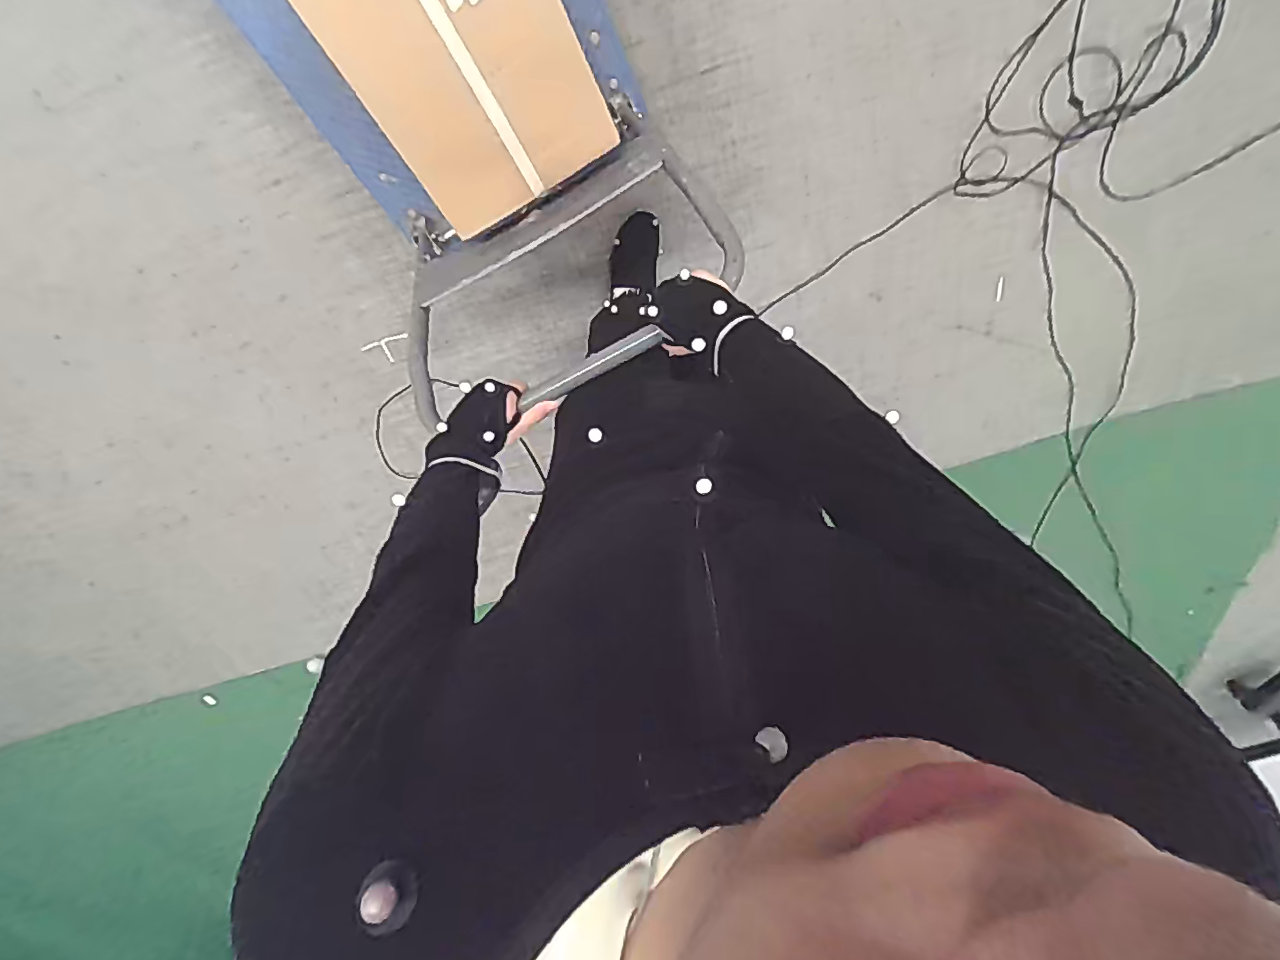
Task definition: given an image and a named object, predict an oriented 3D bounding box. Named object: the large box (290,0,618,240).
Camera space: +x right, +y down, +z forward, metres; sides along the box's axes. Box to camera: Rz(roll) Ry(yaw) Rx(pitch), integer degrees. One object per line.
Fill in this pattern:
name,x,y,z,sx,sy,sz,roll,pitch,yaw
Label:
large box,-0.280,-0.699,0.895,0.320,0.320,0.408,-27,132,10
